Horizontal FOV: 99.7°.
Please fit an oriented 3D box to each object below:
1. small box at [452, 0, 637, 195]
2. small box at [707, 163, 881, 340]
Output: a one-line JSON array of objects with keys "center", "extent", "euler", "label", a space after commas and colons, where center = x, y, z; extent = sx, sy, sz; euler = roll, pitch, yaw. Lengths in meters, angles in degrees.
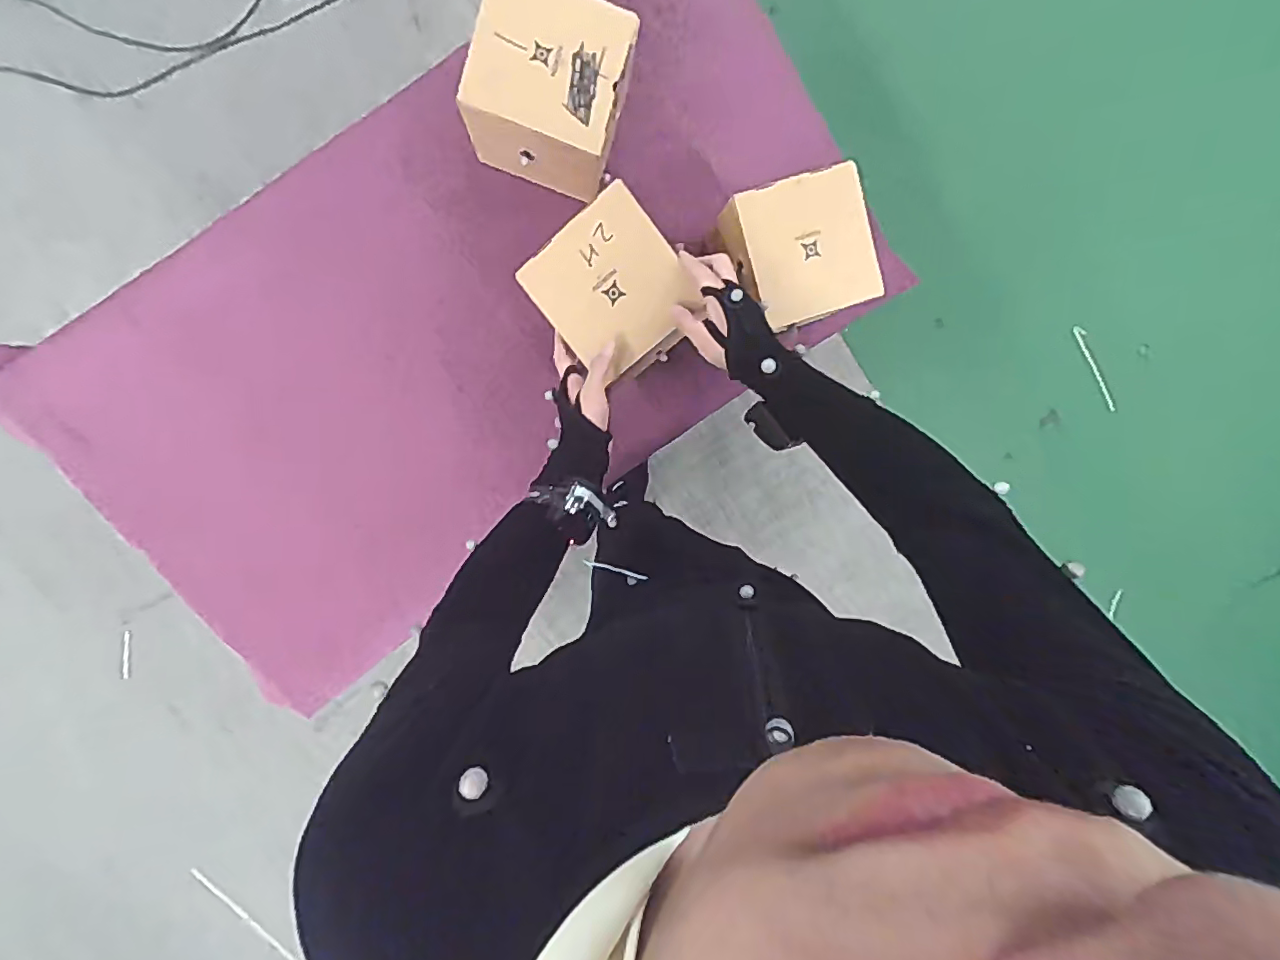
[{"center": [-0.118, -0.499, 0.700], "extent": [0.179, 0.176, 0.168], "euler": [17, 96, -9], "label": "small box"}, {"center": [0.207, -0.306, 0.767], "extent": [0.168, 0.176, 0.179], "euler": [-17, 98, -3], "label": "small box"}]
